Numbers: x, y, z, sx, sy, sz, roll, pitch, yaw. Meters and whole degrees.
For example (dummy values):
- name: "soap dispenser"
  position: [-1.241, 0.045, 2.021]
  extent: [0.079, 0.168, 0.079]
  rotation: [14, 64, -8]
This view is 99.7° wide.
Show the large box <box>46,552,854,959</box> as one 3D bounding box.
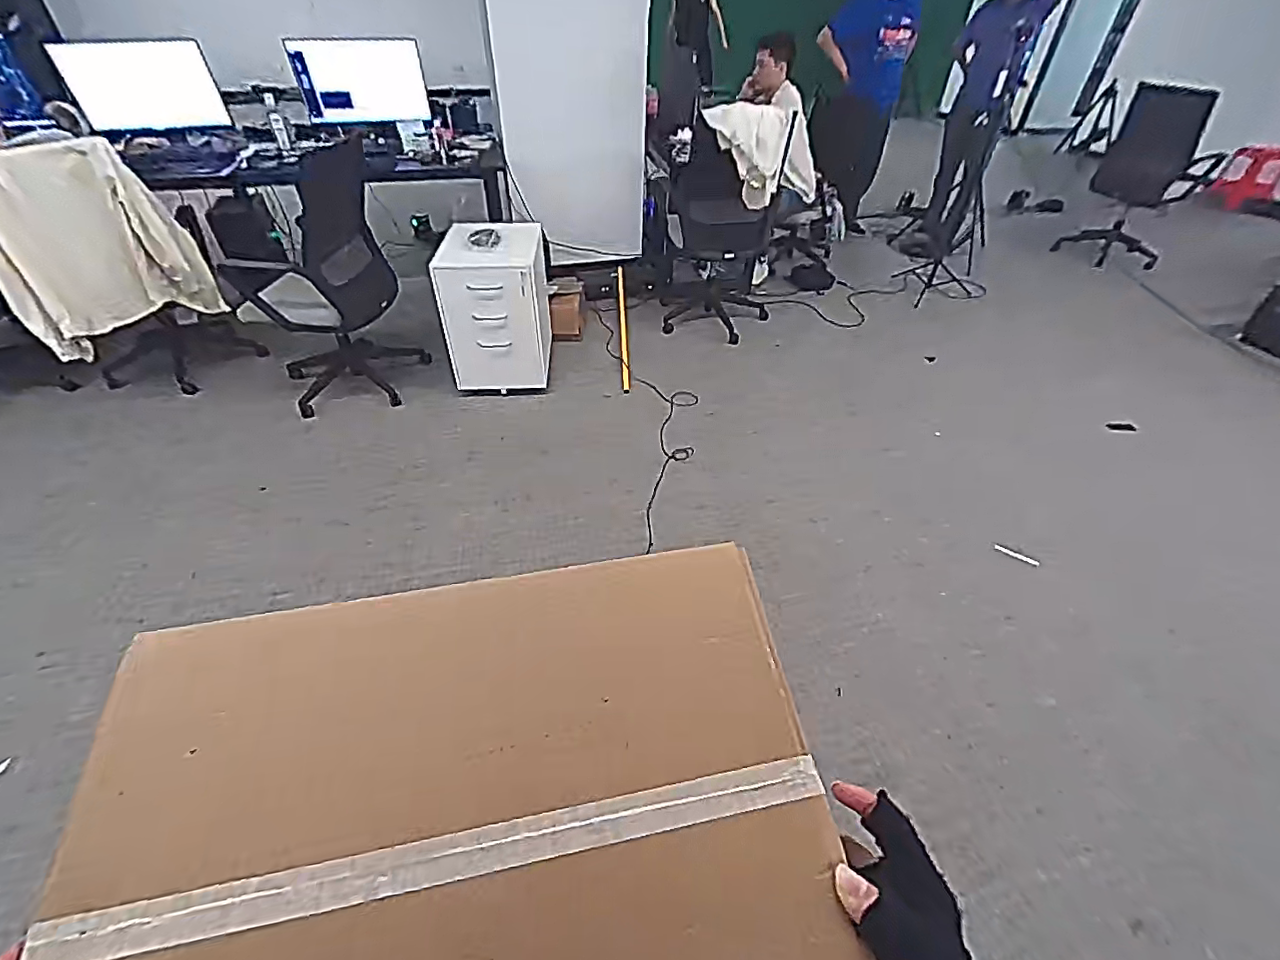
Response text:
- name: "large box"
  position: [-0.104, 0.289, 0.422]
  extent: [0.408, 0.320, 0.320]
  rotation: [-8, 55, -8]
